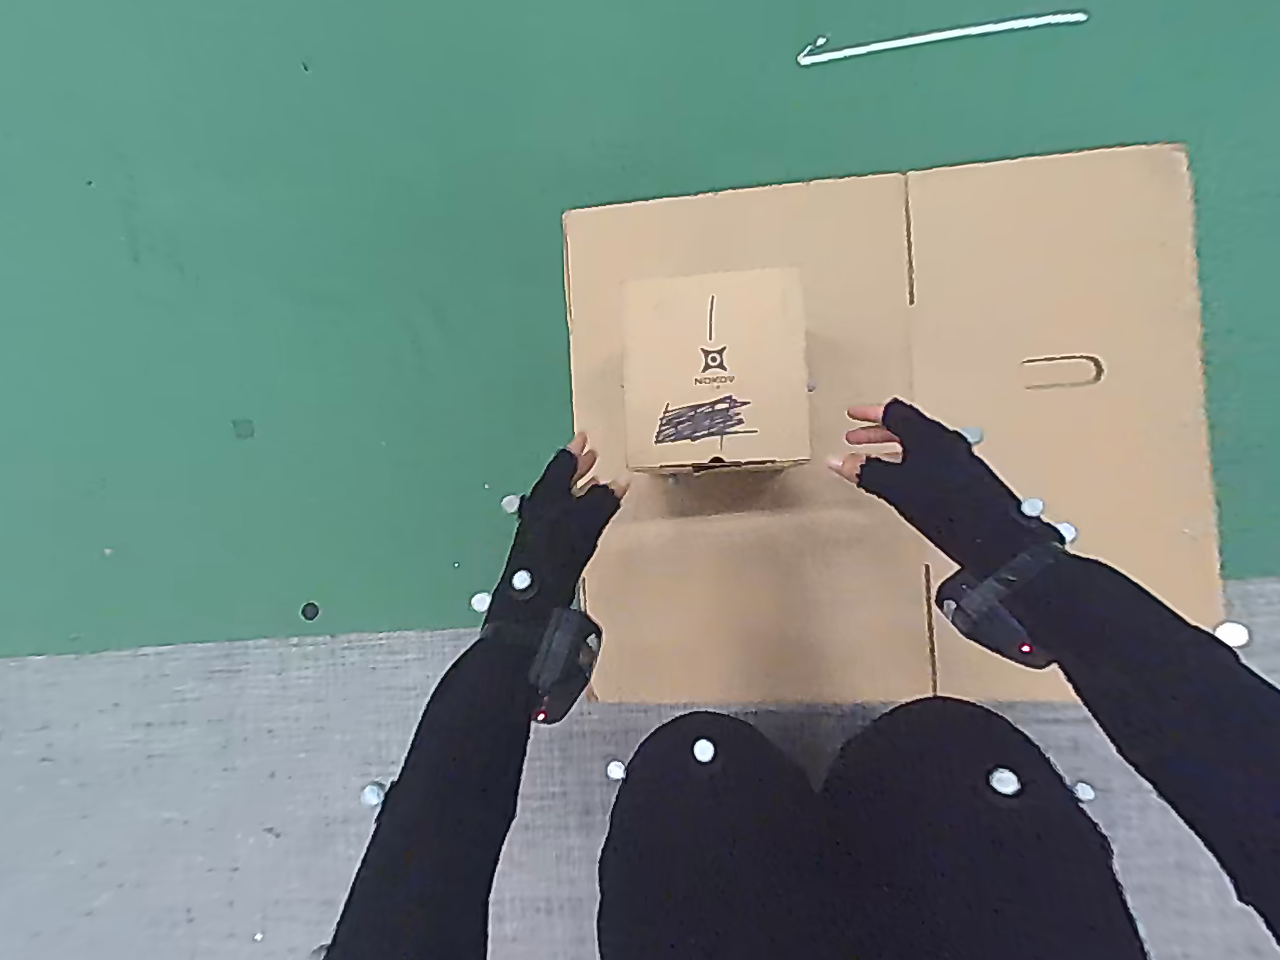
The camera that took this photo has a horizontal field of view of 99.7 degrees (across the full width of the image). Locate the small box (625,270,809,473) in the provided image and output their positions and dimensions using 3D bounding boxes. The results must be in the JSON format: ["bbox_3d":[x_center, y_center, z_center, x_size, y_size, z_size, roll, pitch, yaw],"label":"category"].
[{"bbox_3d":[0.080,-0.096,0.567,0.168,0.176,0.179,-2,88,8],"label":"small box"}]
